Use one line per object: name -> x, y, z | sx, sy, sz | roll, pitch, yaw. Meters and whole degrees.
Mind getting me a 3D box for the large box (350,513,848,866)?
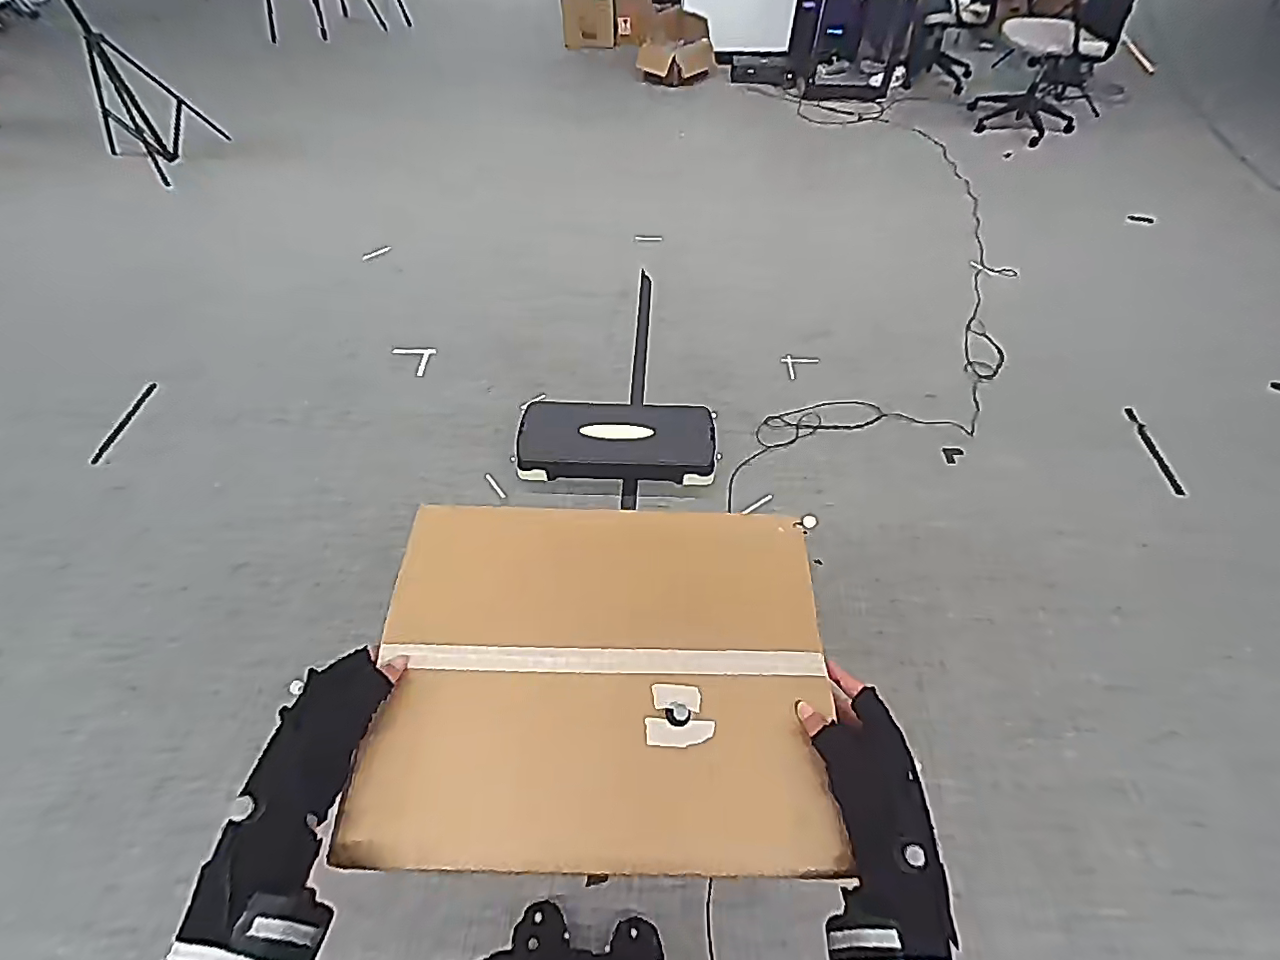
large box -> -0.036, 0.249, 0.629 | 0.408, 0.320, 0.320 | 2, 58, -1
